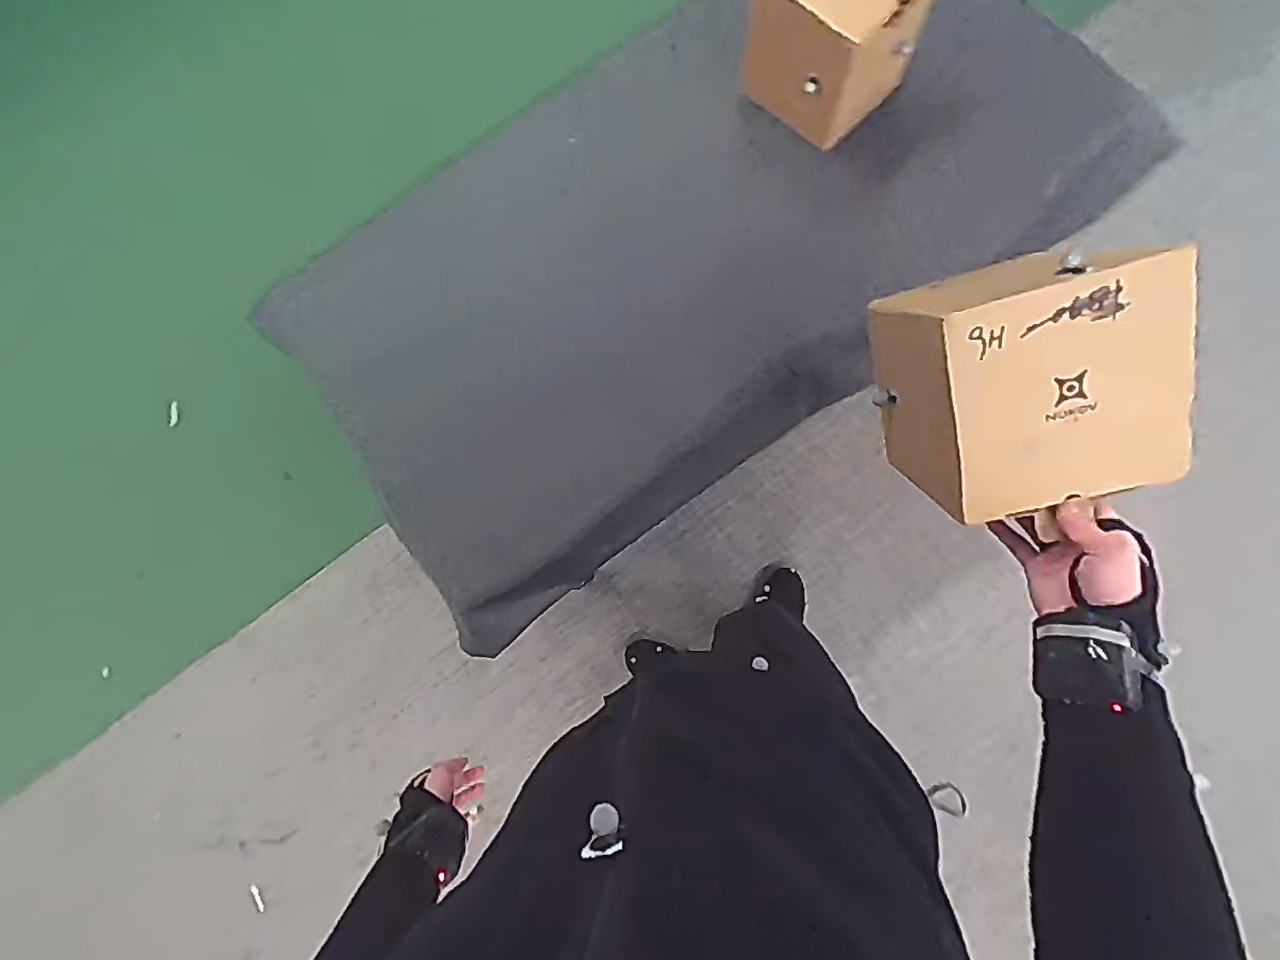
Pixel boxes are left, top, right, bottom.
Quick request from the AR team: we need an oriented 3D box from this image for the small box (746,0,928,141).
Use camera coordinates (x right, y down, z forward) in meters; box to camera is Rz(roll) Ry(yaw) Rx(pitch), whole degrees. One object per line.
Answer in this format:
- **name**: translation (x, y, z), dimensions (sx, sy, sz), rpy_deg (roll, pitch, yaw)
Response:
- **small box**: translation (0.271, -0.622, 0.757), dimensions (0.168, 0.176, 0.179), rpy_deg (-44, 78, -6)
